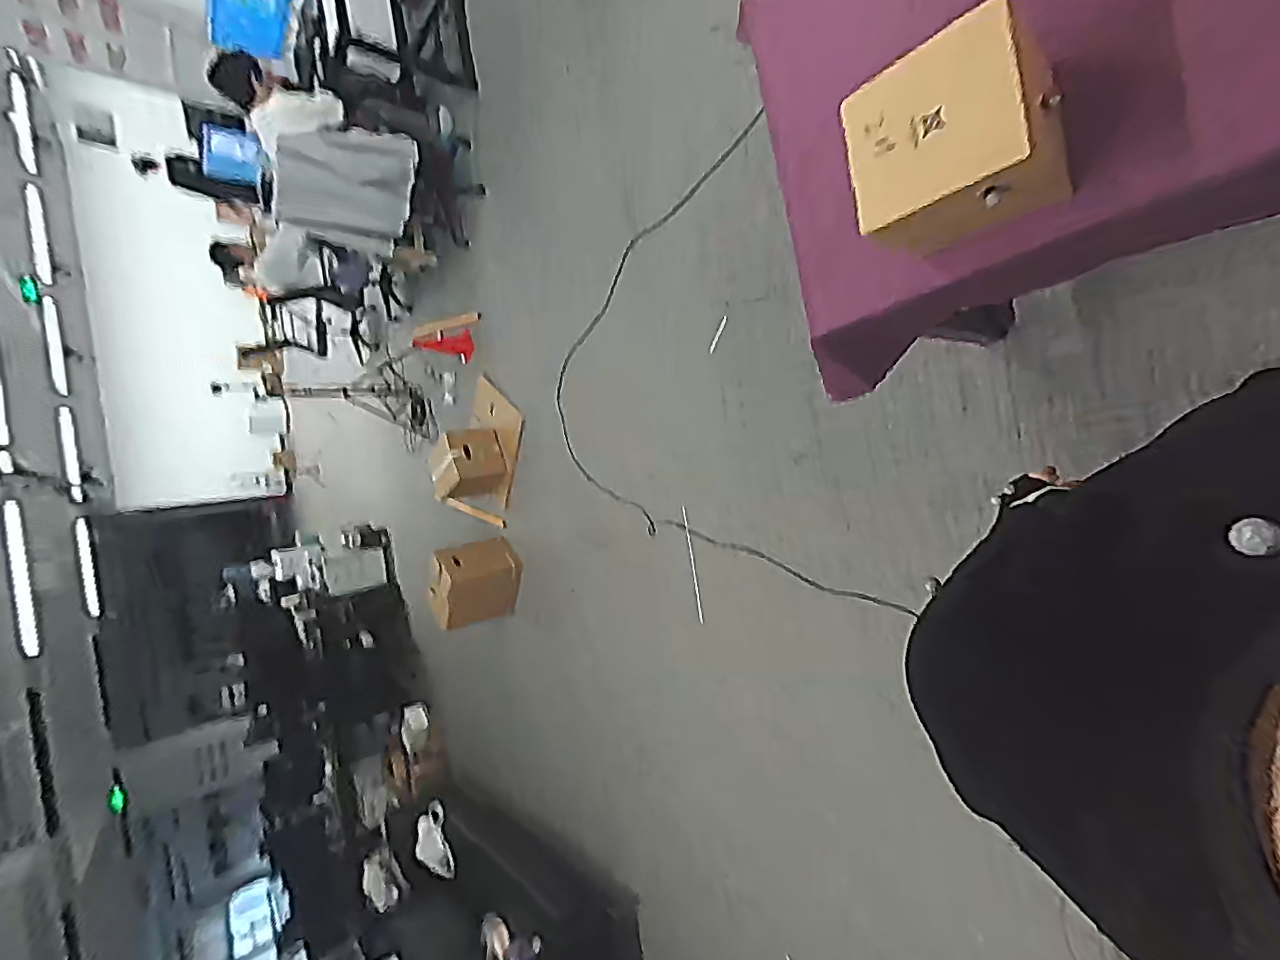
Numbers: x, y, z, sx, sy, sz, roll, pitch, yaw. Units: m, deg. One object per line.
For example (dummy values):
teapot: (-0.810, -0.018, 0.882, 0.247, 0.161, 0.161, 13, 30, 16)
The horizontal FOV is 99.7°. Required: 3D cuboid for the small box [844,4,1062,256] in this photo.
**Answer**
small box: (0.376, -0.392, 0.647, 0.179, 0.176, 0.168, -10, 88, 51)
